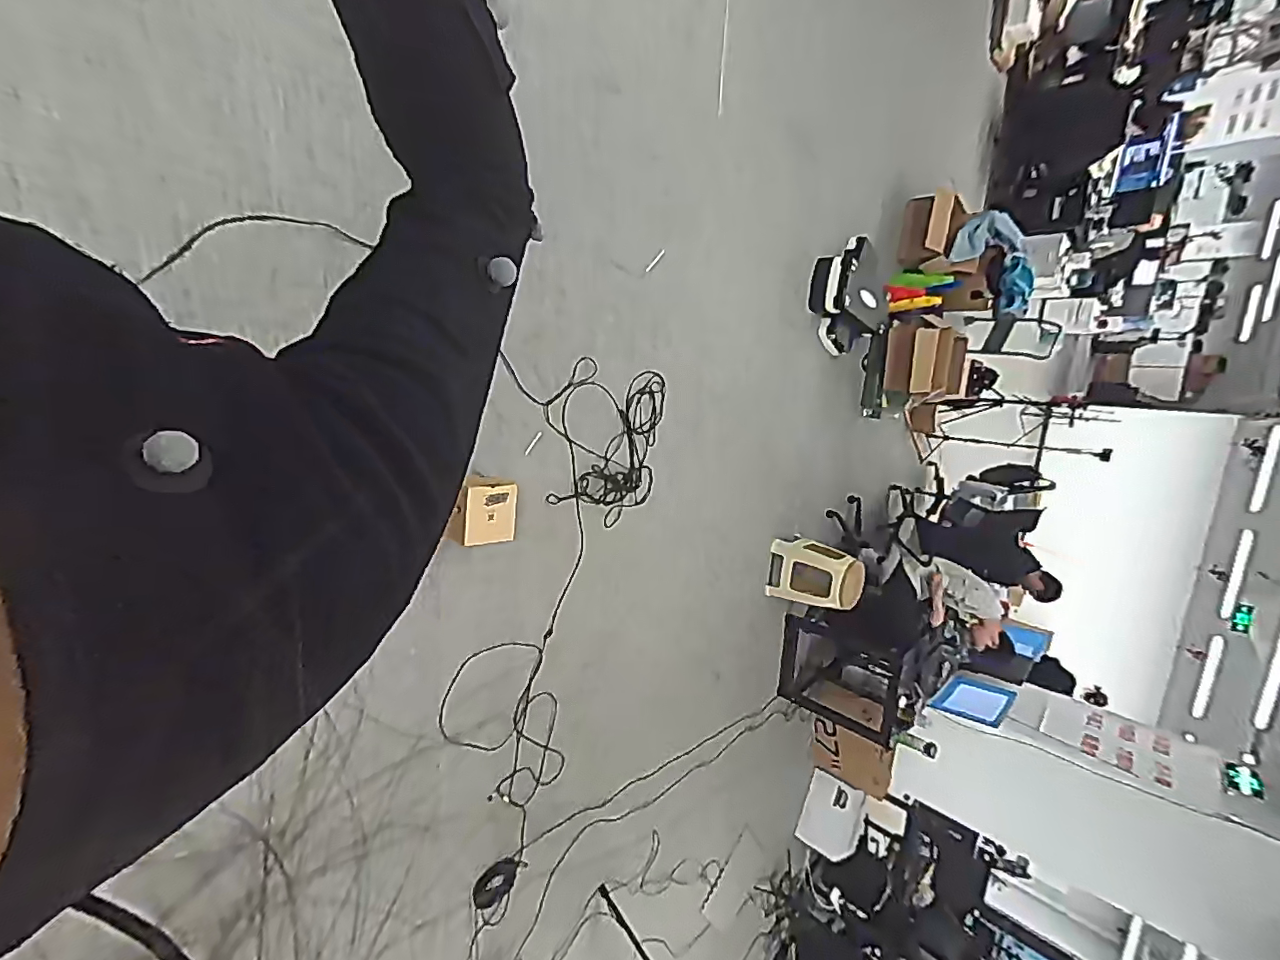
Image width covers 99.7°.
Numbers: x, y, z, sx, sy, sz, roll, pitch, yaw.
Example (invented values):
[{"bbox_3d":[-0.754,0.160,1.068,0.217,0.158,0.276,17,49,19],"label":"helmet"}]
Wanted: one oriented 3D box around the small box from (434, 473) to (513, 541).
[{"bbox_3d":[-0.503,0.074,1.627,0.168,0.176,0.179,-3,103,-48],"label":"small box"}]
